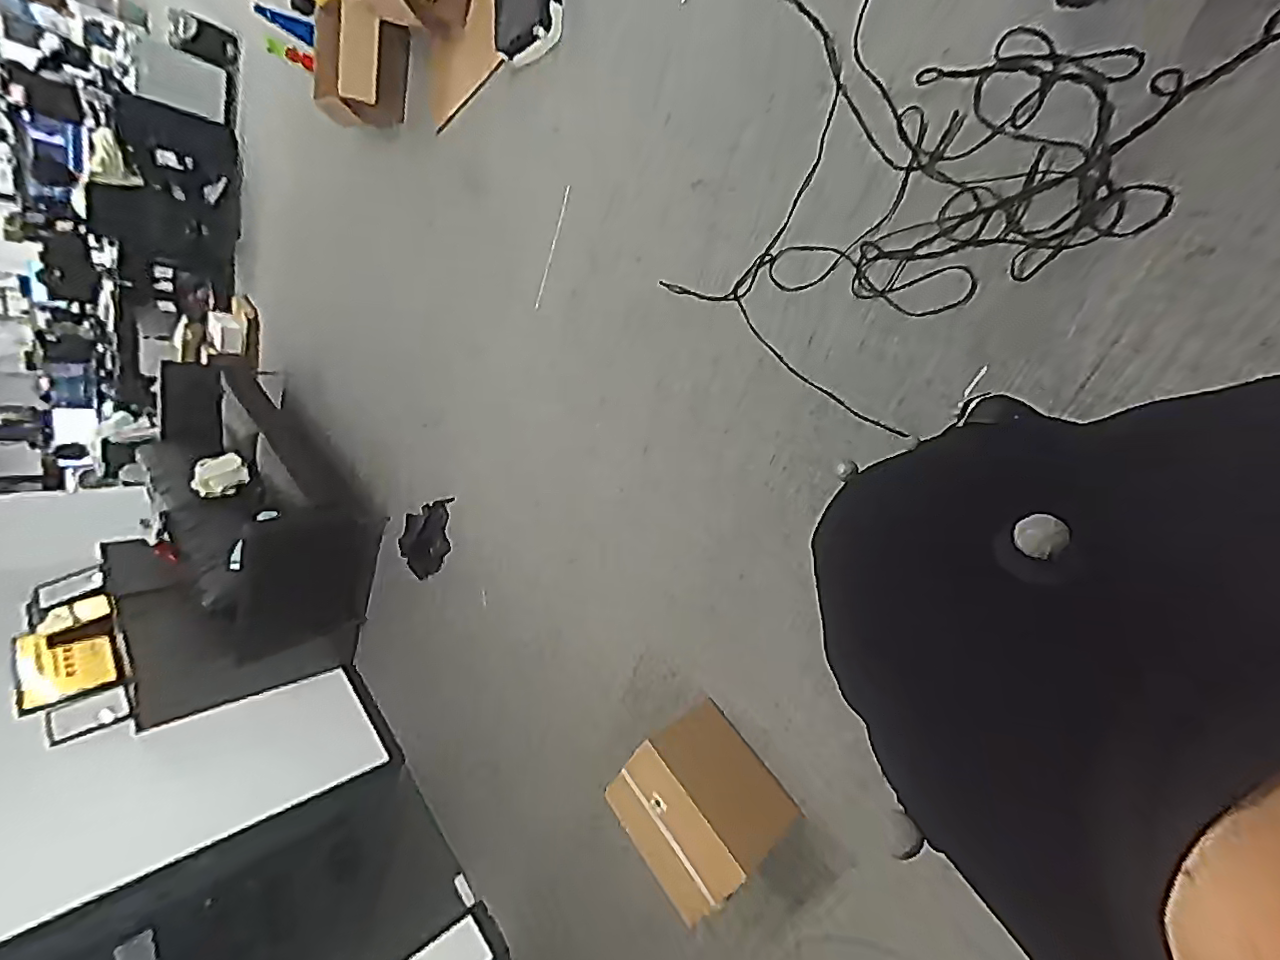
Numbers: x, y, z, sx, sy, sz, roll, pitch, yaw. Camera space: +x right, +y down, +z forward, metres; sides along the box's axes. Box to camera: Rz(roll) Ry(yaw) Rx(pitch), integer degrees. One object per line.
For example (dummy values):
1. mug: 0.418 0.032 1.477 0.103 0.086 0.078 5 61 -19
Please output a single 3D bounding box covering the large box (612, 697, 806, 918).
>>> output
1. large box: 0.197 0.939 1.595 0.408 0.320 0.320 47 122 30
